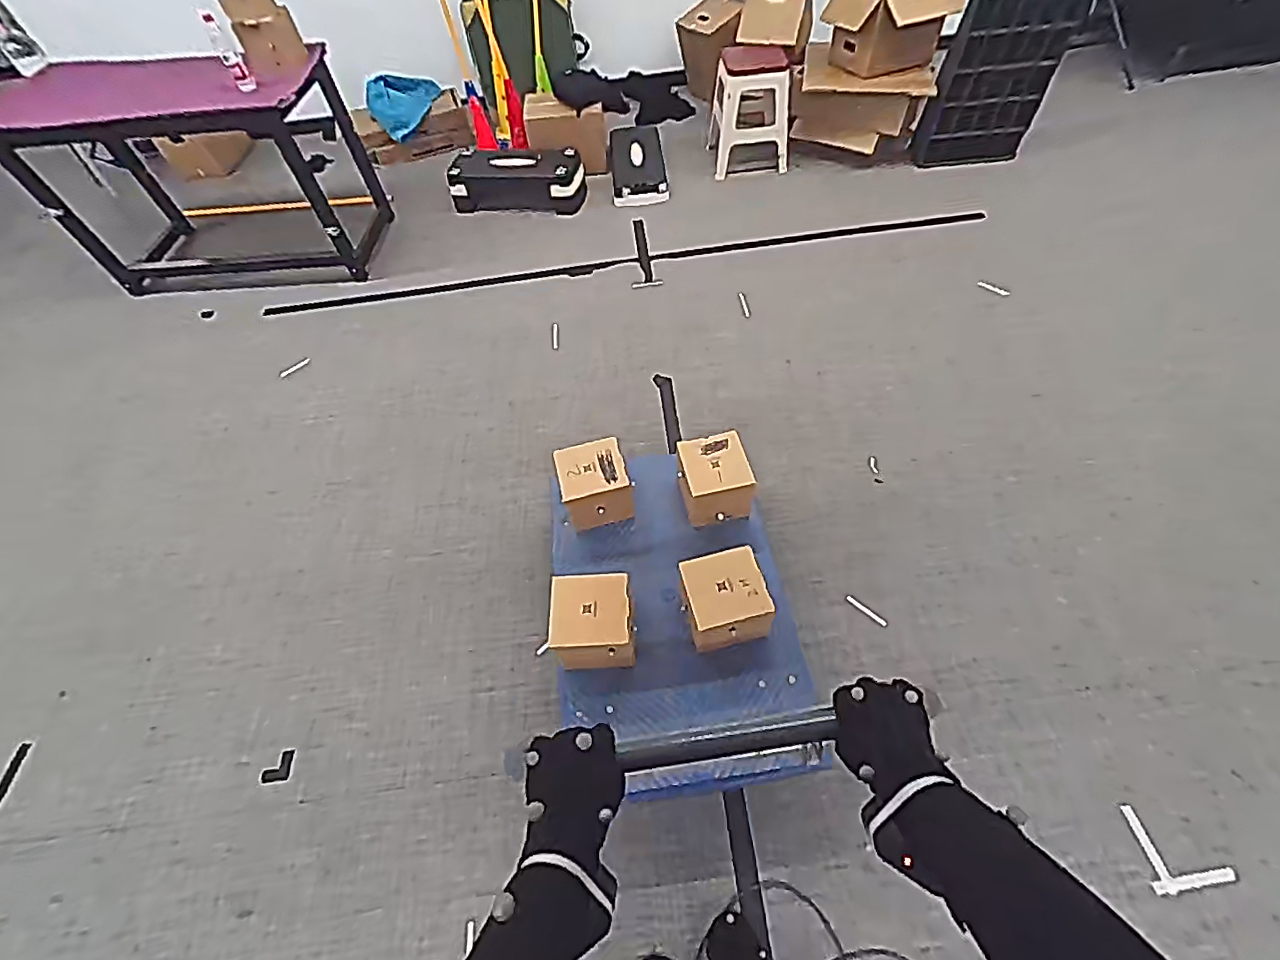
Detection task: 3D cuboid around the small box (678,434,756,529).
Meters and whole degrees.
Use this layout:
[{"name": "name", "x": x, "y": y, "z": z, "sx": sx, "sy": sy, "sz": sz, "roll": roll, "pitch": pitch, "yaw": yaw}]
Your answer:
[{"name": "small box", "x": 0.199, "y": 0.006, "z": 1.458, "sx": 0.168, "sy": 0.176, "sz": 0.179, "roll": -12, "pitch": 57, "yaw": -3}]

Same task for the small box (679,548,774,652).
[{"name": "small box", "x": 0.198, "y": 0.287, "z": 1.269, "sx": 0.179, "sy": 0.176, "sz": 0.168, "roll": -14, "pitch": 56, "yaw": -4}]

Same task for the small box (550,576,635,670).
[{"name": "small box", "x": -0.104, "y": 0.337, "z": 1.262, "sx": 0.179, "sy": 0.176, "sz": 0.168, "roll": -3, "pitch": 55, "yaw": 1}]
